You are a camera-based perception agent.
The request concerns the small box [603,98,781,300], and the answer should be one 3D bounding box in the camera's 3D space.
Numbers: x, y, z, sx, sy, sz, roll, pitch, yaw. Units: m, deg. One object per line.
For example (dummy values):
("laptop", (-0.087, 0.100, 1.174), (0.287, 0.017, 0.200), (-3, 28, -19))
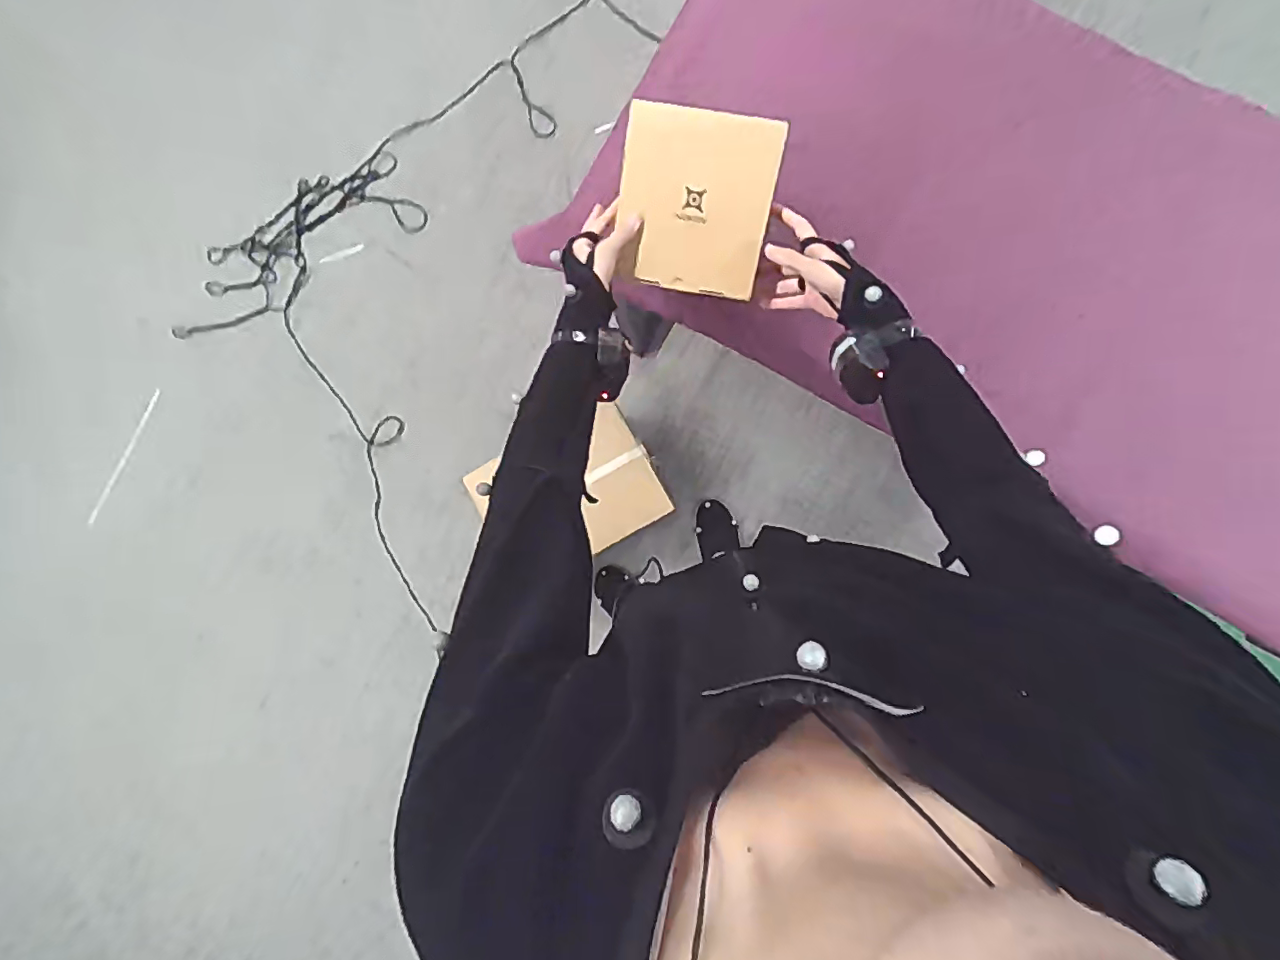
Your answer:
("small box", (0.059, -0.323, 0.648), (0.168, 0.176, 0.179), (10, 114, 4))
